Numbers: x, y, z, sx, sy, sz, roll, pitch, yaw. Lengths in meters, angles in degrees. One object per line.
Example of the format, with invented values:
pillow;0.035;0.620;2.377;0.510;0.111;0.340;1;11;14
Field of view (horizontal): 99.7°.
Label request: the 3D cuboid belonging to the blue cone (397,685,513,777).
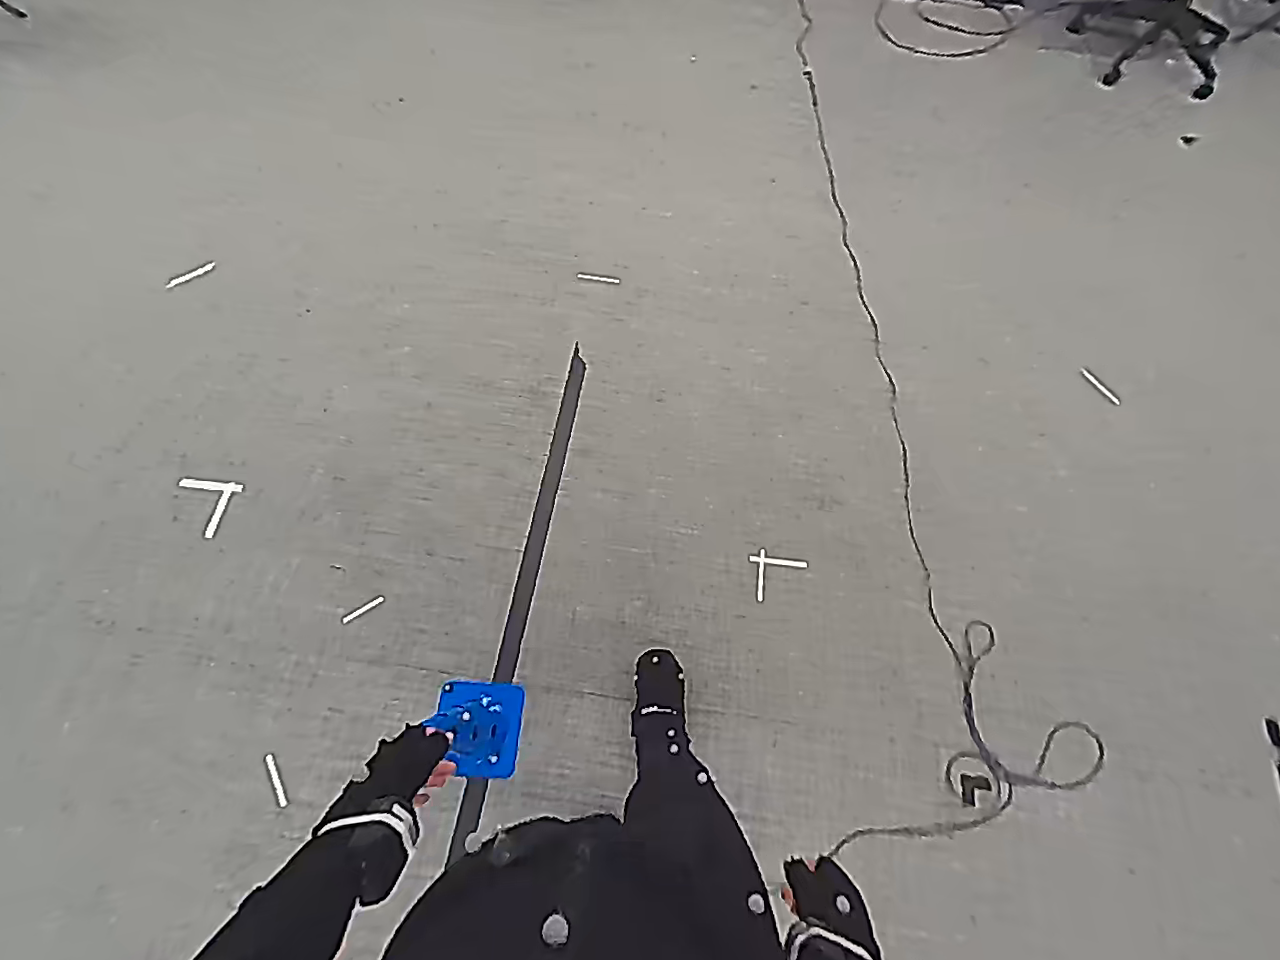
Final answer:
blue cone;-0.395;0.514;1.106;0.192;0.380;0.193;5;66;2
